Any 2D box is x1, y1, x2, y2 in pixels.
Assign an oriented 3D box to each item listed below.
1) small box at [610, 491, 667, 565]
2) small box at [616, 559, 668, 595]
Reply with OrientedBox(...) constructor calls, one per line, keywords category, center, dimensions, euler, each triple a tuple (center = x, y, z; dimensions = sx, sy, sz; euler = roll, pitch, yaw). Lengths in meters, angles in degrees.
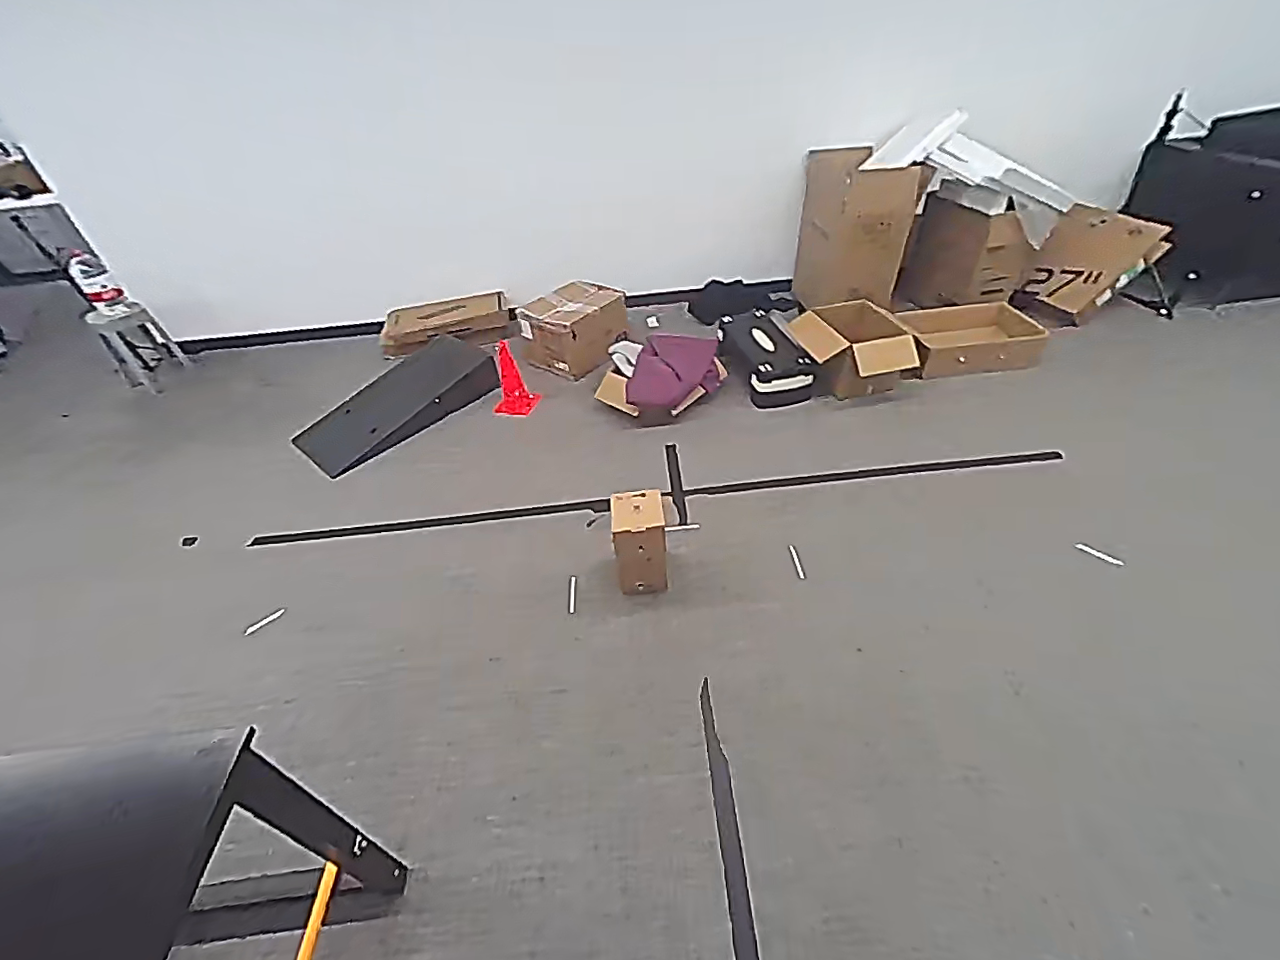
OrientedBox(category="small box", center=(-0.005, 0.162, 1.761), dimensions=(0.168, 0.176, 0.179), euler=(-7, 41, 1))
OrientedBox(category="small box", center=(0.004, 0.275, 1.881), dimensions=(0.168, 0.176, 0.179), euler=(-8, 42, 0))
